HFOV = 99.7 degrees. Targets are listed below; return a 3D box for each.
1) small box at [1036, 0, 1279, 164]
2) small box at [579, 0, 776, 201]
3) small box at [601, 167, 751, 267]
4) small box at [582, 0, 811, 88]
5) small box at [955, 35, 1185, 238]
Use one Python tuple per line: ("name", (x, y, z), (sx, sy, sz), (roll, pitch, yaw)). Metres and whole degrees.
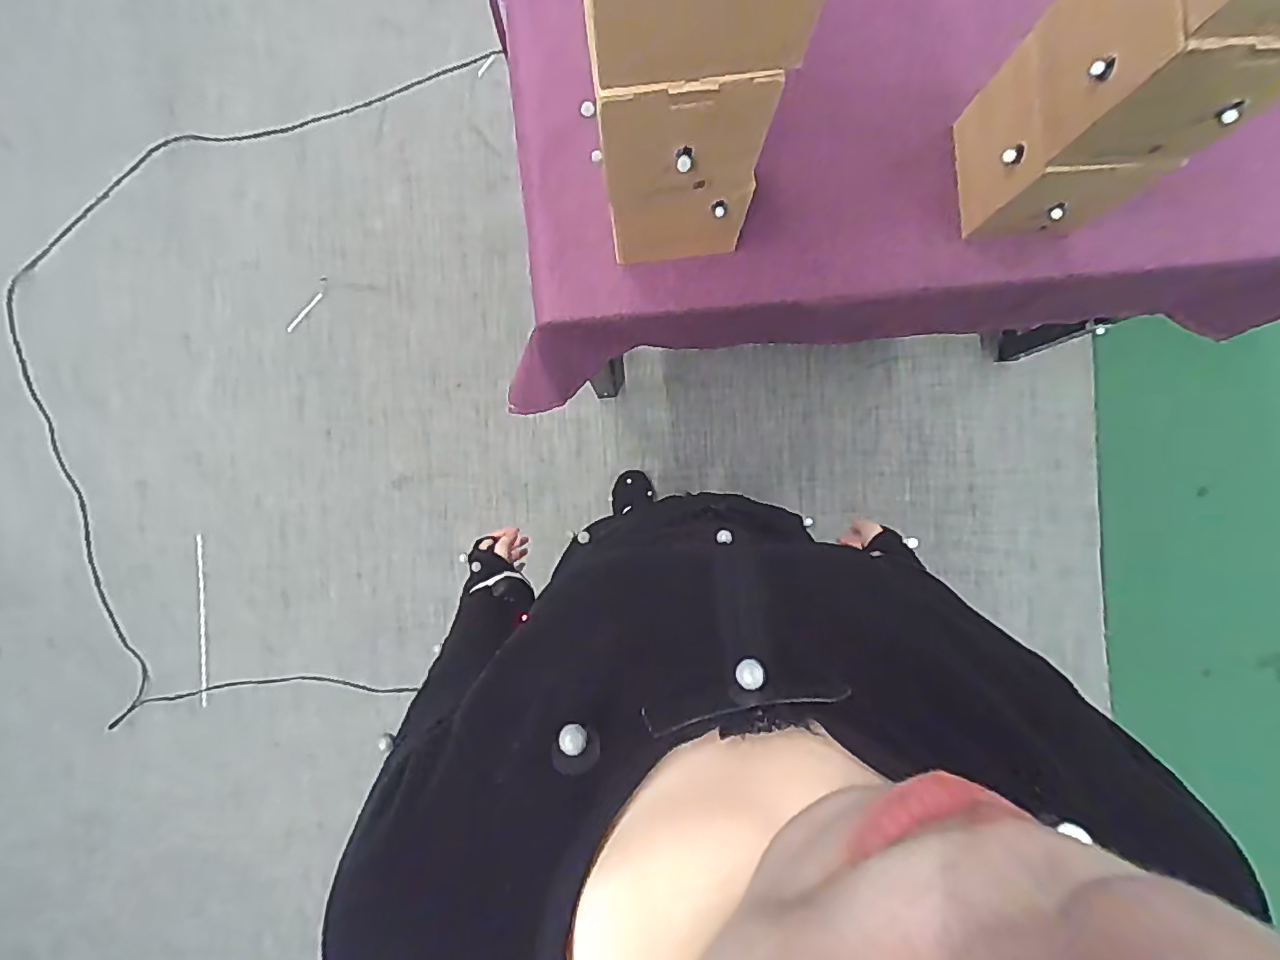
("small box", (0.537, -0.443, 0.541), (0.168, 0.176, 0.179), (-1, 87, 1))
("small box", (0.031, -0.411, 0.553), (0.168, 0.176, 0.179), (-7, 88, 0))
("small box", (0.039, -0.401, 0.717), (0.179, 0.176, 0.168), (-7, 87, 0))
("small box", (0.037, -0.423, 0.388), (0.179, 0.176, 0.168), (-6, 87, 0))
("small box", (0.541, -0.433, 0.704), (0.168, 0.176, 0.179), (-3, 87, 1))
